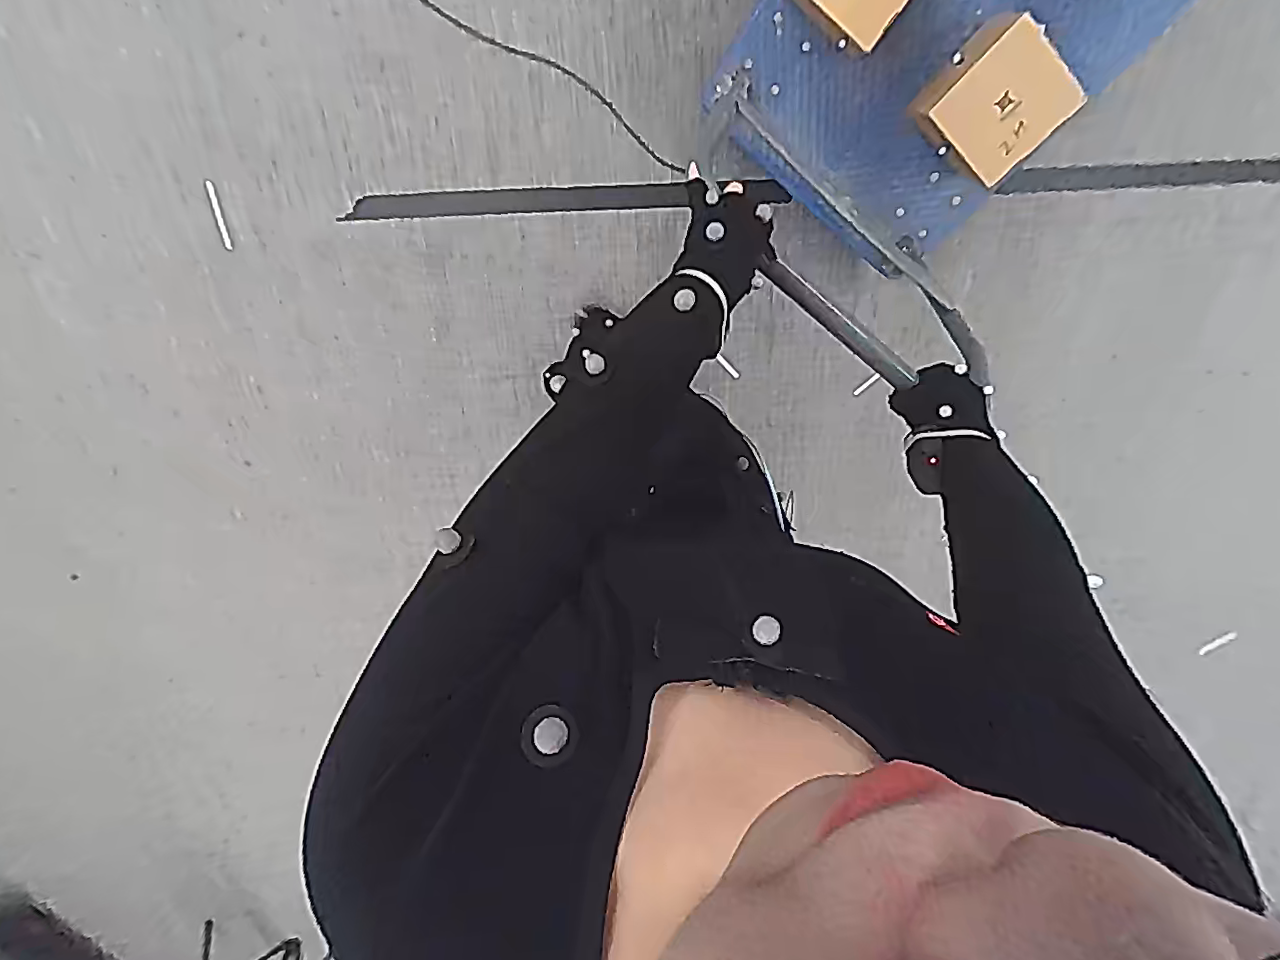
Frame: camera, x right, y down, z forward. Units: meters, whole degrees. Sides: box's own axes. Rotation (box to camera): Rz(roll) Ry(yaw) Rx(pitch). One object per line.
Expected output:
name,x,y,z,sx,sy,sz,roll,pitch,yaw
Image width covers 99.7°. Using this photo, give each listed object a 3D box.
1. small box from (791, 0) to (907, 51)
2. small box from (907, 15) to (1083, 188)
small box,0.344,-0.817,0.853,0.179,0.176,0.168,31,125,-15
small box,0.597,-0.644,0.934,0.179,0.176,0.168,37,124,-17
